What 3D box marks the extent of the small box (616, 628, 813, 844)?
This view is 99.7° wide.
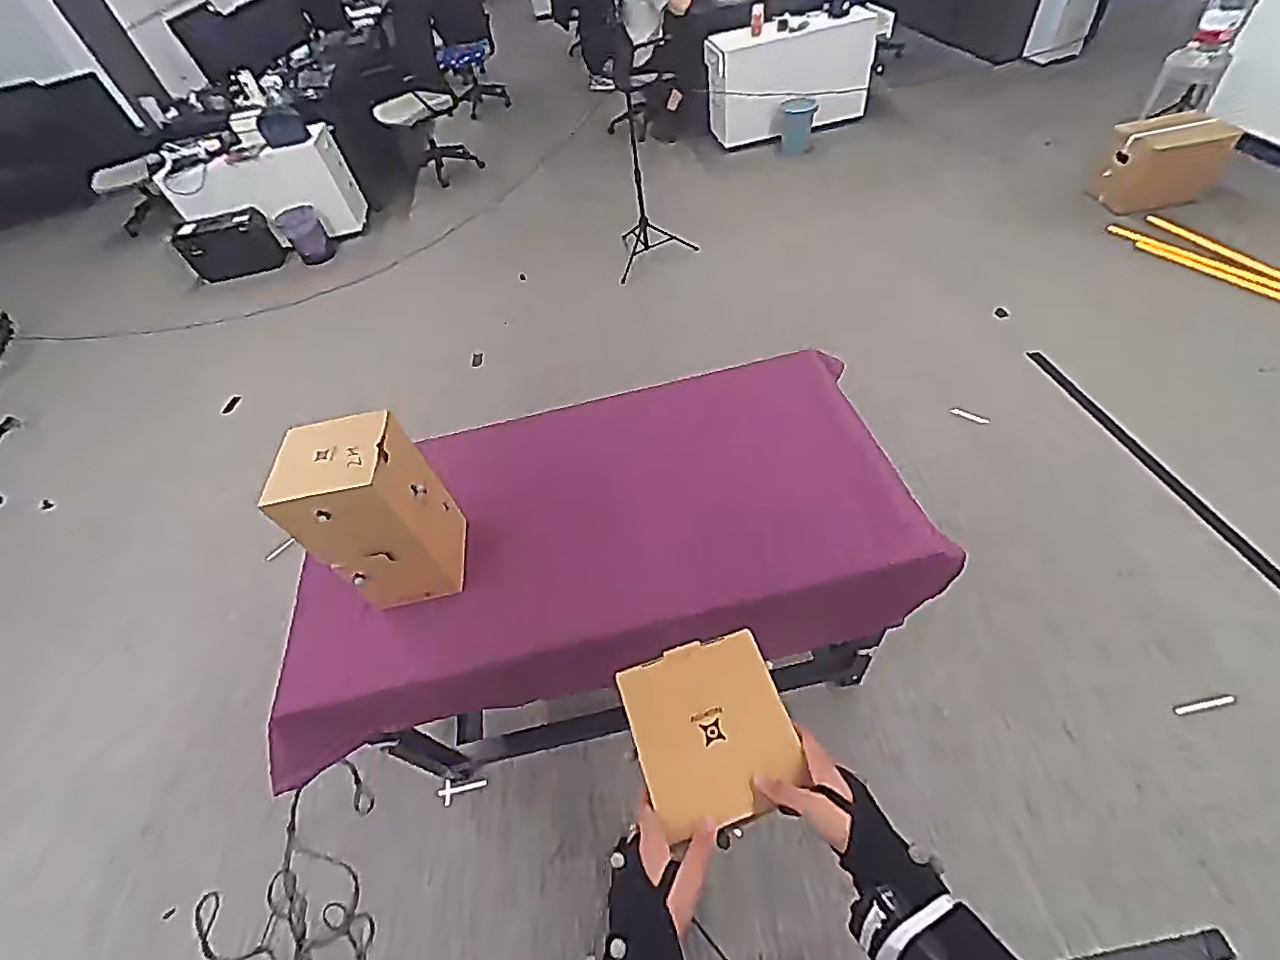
[{"bbox_3d":[0.081,0.308,0.642,0.168,0.176,0.179,-17,53,-7],"label":"small box"}]

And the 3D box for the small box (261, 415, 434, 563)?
[{"bbox_3d":[-0.472,0.020,0.902,0.179,0.176,0.168,-11,50,1],"label":"small box"}]
